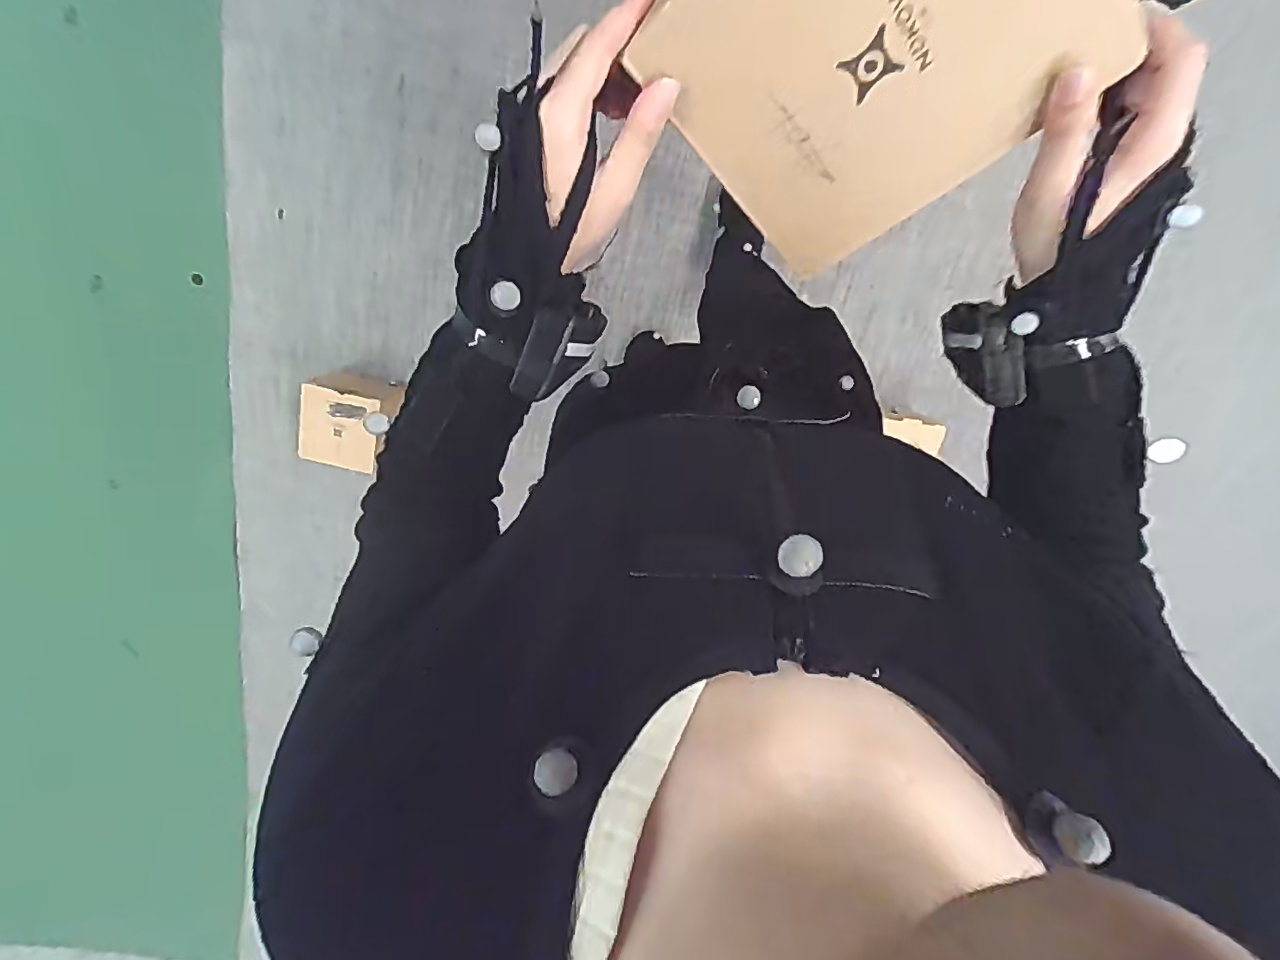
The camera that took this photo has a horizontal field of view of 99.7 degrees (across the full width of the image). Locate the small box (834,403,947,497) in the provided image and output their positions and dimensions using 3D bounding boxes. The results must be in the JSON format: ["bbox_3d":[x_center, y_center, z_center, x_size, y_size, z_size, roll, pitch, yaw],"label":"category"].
[{"bbox_3d":[0.585,-0.078,1.289,0.168,0.176,0.179,7,109,-4],"label":"small box"}]

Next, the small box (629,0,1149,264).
[{"bbox_3d":[0.113,-0.268,0.291,0.168,0.176,0.179,31,138,-33],"label":"small box"}]

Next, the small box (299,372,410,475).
[{"bbox_3d":[-0.645,-0.135,1.239,0.168,0.176,0.179,15,110,-6],"label":"small box"}]
